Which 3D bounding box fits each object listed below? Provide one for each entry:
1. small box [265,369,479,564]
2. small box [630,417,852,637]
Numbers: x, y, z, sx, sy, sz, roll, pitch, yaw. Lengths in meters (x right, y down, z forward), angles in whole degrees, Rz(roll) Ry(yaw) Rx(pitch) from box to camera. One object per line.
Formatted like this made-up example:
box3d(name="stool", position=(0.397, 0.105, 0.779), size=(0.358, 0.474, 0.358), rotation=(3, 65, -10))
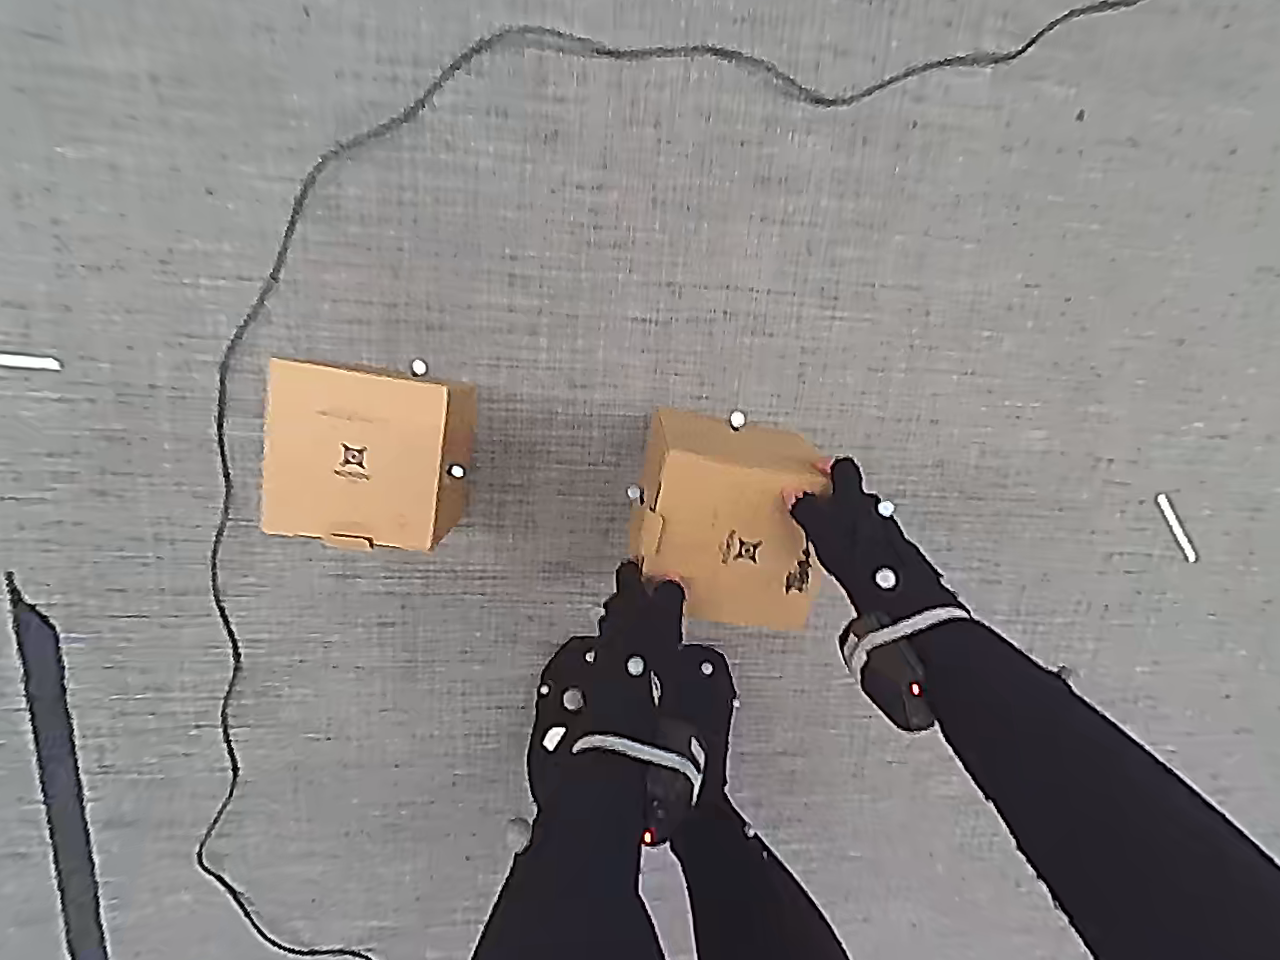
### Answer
box3d(name="small box", position=(-0.286, -0.024, 0.610), size=(0.168, 0.176, 0.179), rotation=(9, 100, -8))
box3d(name="small box", position=(0.089, 0.039, 0.580), size=(0.179, 0.176, 0.168), rotation=(10, 110, -6))
